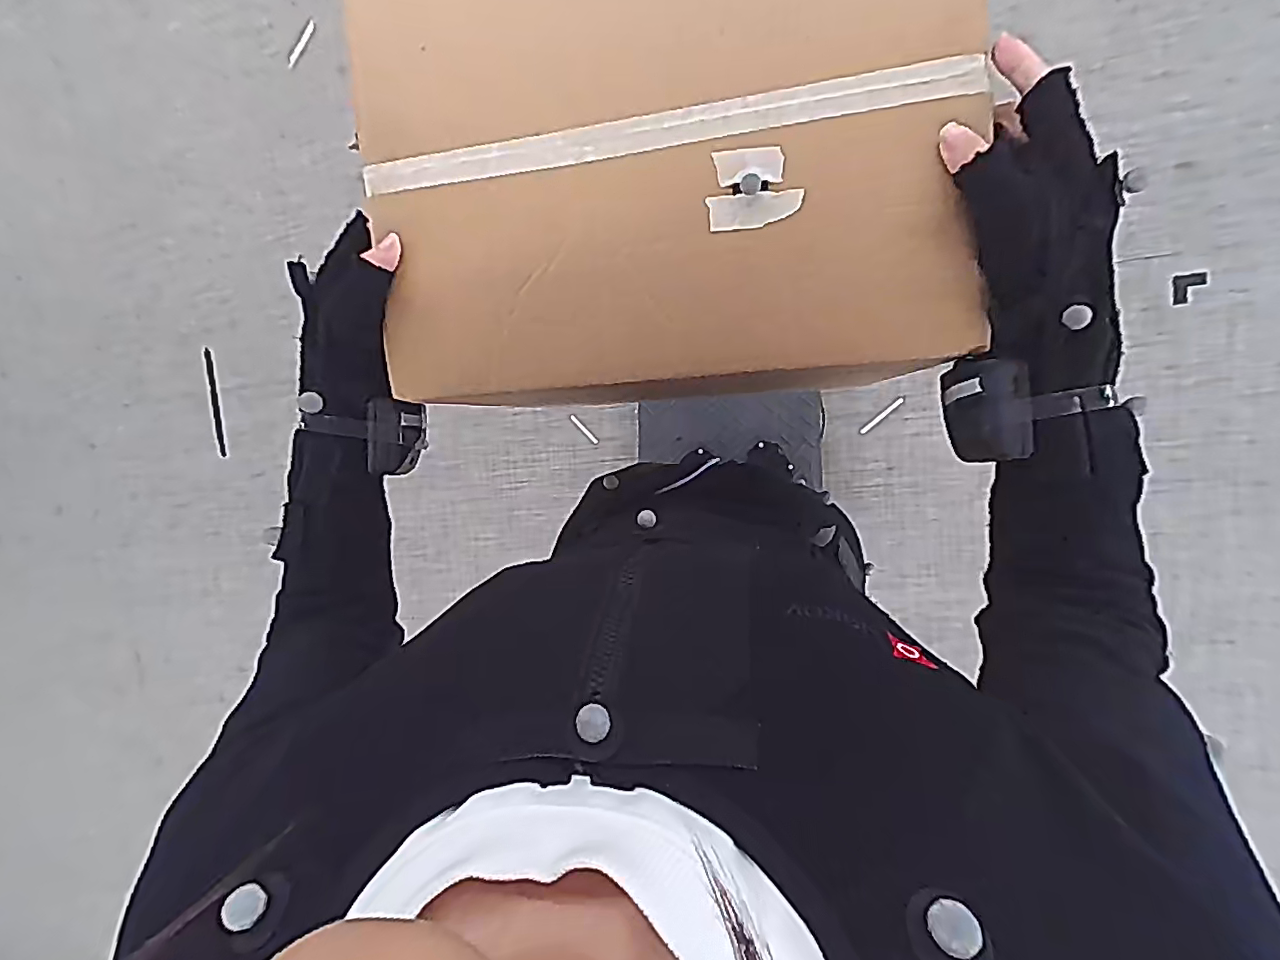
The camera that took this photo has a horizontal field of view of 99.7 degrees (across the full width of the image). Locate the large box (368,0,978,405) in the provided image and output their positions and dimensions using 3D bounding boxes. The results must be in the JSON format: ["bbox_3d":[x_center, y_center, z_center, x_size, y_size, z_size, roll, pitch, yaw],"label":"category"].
[{"bbox_3d":[0.033,-0.247,0.510,0.408,0.320,0.320,-3,97,11],"label":"large box"}]
